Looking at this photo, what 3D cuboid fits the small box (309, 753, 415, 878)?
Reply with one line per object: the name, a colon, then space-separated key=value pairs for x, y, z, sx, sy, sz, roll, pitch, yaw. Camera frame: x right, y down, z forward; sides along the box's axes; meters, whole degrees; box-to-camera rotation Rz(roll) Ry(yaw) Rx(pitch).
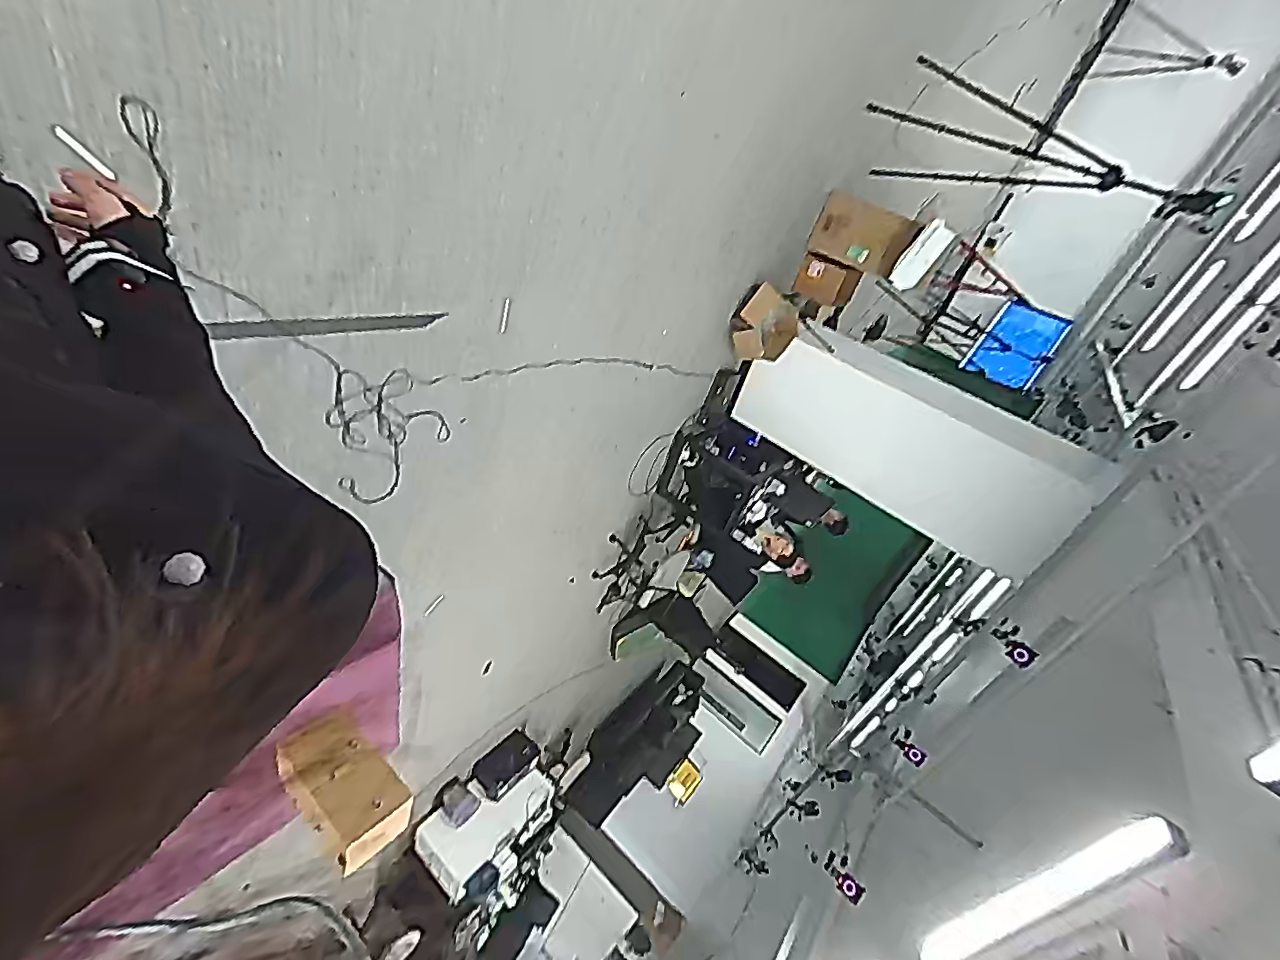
small box: x=-0.709 y=0.846 z=1.379 sx=0.179 sy=0.176 sz=0.168 roll=-23 pitch=141 yaw=-51
